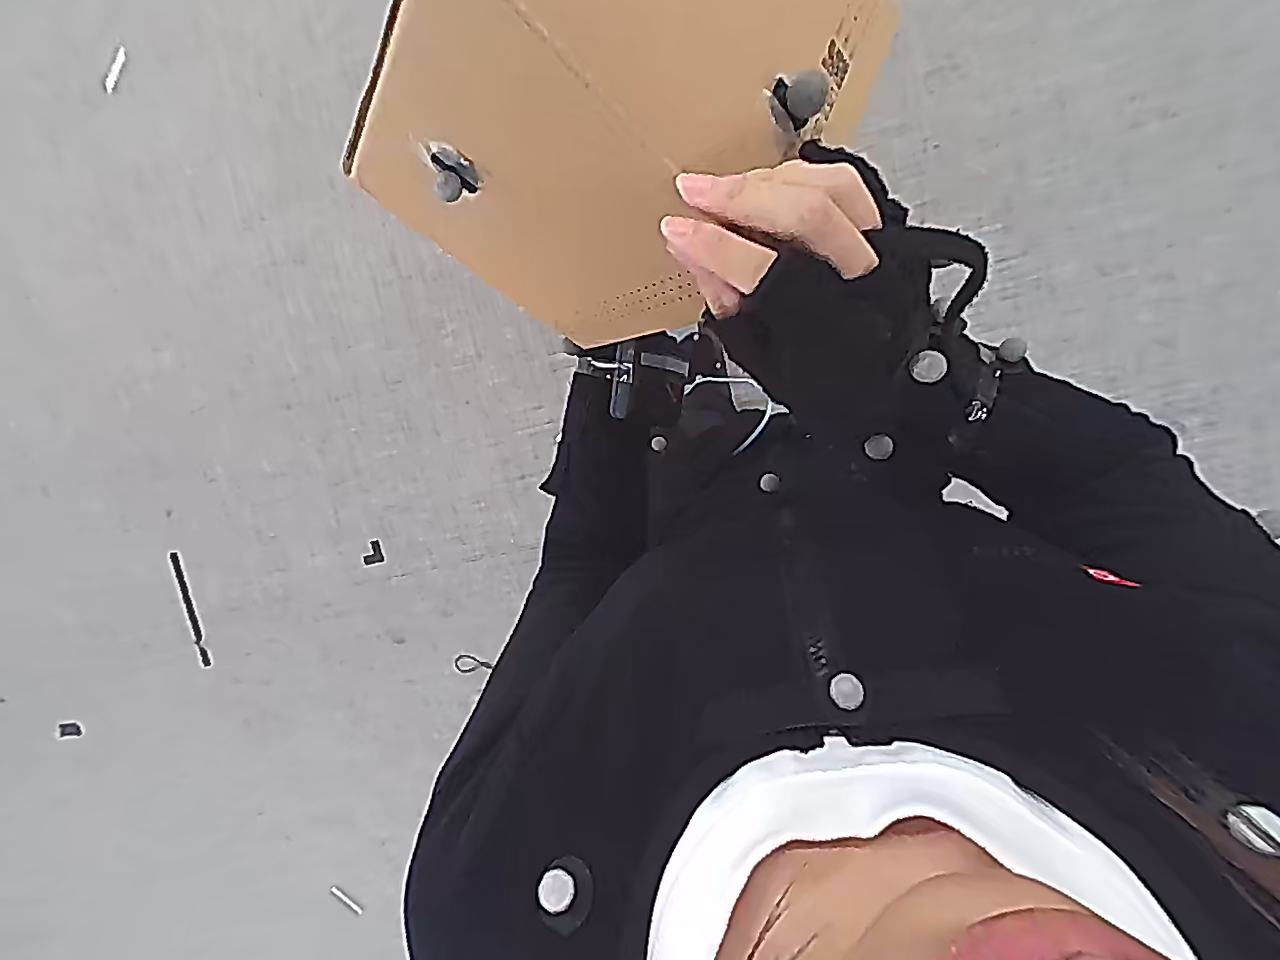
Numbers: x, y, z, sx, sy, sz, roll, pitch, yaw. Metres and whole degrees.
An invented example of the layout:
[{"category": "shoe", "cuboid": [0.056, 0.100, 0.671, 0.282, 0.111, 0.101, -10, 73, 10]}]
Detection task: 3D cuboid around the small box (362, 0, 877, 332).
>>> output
[{"category": "small box", "cuboid": [-0.013, -0.198, 0.286, 0.176, 0.179, 0.168, 30, 77, -33]}]
